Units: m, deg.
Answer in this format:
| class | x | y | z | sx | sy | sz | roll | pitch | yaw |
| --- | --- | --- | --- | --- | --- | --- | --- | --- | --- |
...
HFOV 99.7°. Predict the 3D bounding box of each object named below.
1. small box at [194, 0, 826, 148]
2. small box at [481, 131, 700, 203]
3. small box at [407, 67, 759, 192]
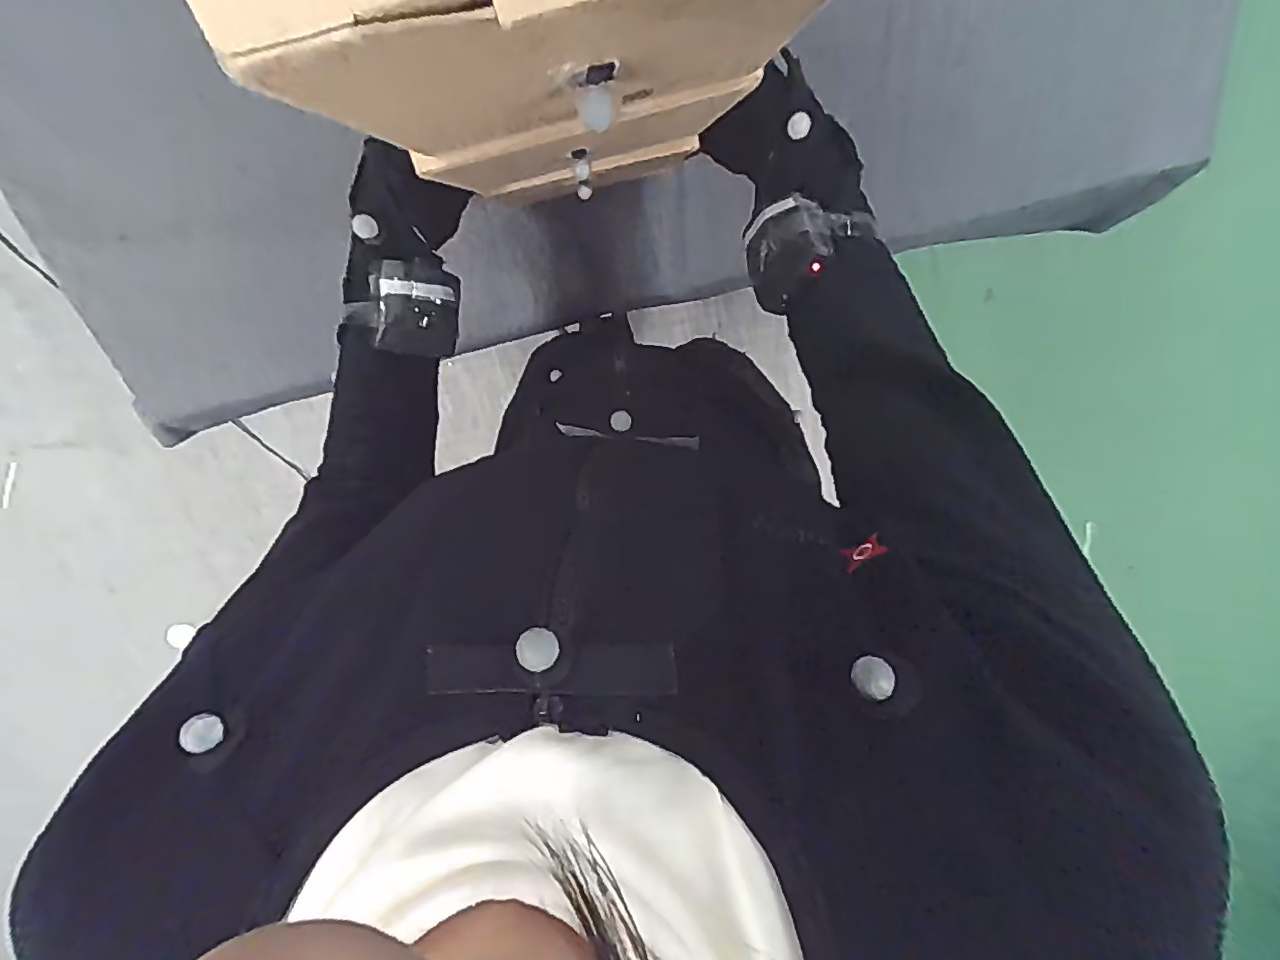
| class | x | y | z | sx | sy | sz | roll | pitch | yaw |
| --- | --- | --- | --- | --- | --- | --- | --- | --- | --- |
| small box | -0.034 | -0.211 | 0.152 | 0.168 | 0.176 | 0.179 | -14 | 117 | 2 |
| small box | -0.062 | -0.341 | 0.452 | 0.179 | 0.176 | 0.168 | -14 | 116 | -1 |
| small box | -0.049 | -0.273 | 0.302 | 0.179 | 0.176 | 0.168 | -14 | 116 | 3 |
